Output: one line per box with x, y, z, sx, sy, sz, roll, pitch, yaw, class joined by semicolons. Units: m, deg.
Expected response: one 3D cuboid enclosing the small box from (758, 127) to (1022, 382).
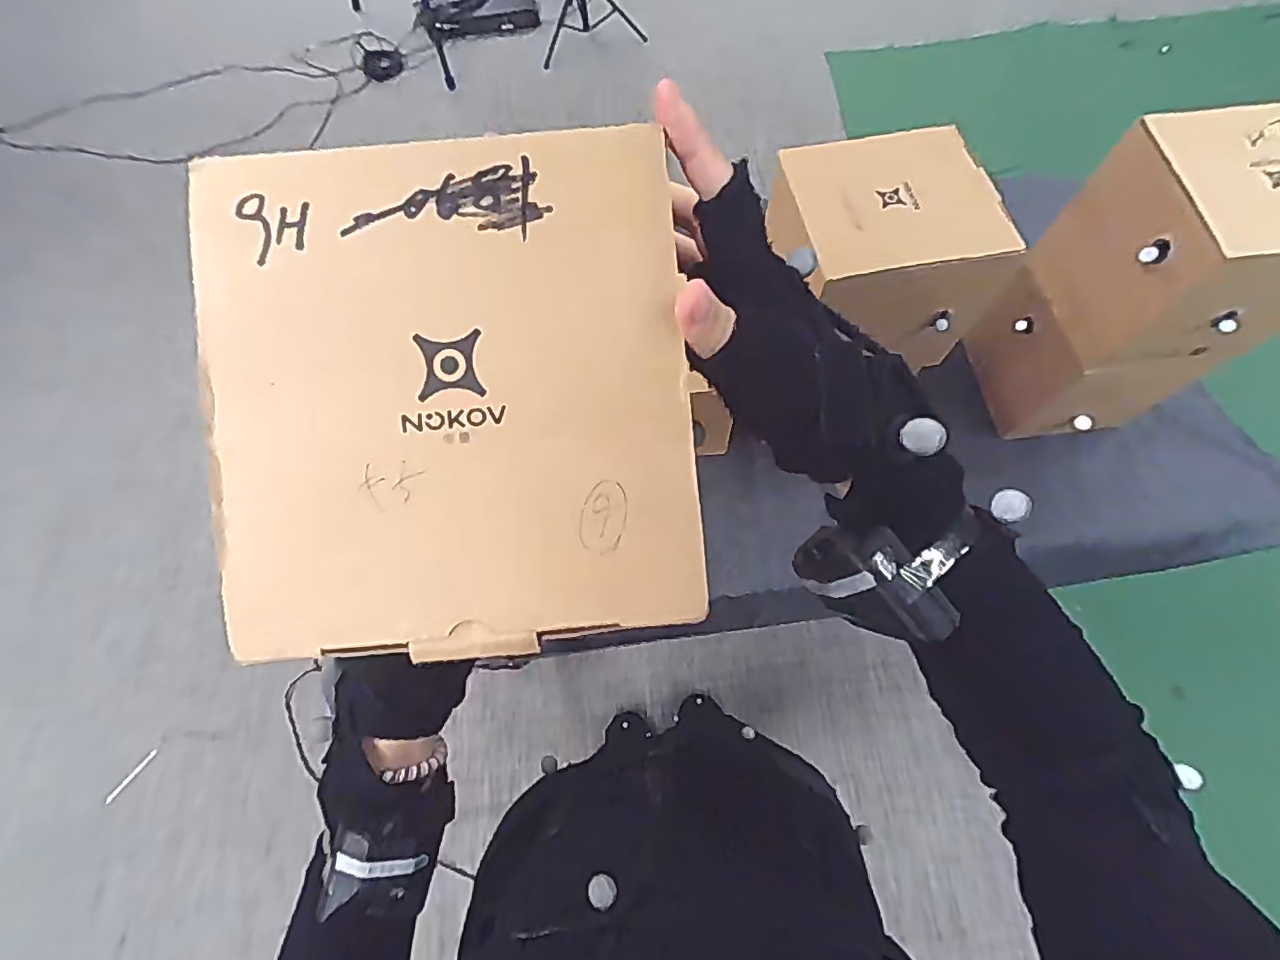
0.235;-0.223;0.563;0.179;0.176;0.168;-9;67;0;small box

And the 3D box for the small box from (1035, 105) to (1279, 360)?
0.555;-0.236;0.549;0.168;0.176;0.179;-5;67;1;small box

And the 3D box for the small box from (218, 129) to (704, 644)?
-0.062;-0.033;0.273;0.168;0.176;0.179;-5;90;-1;small box
